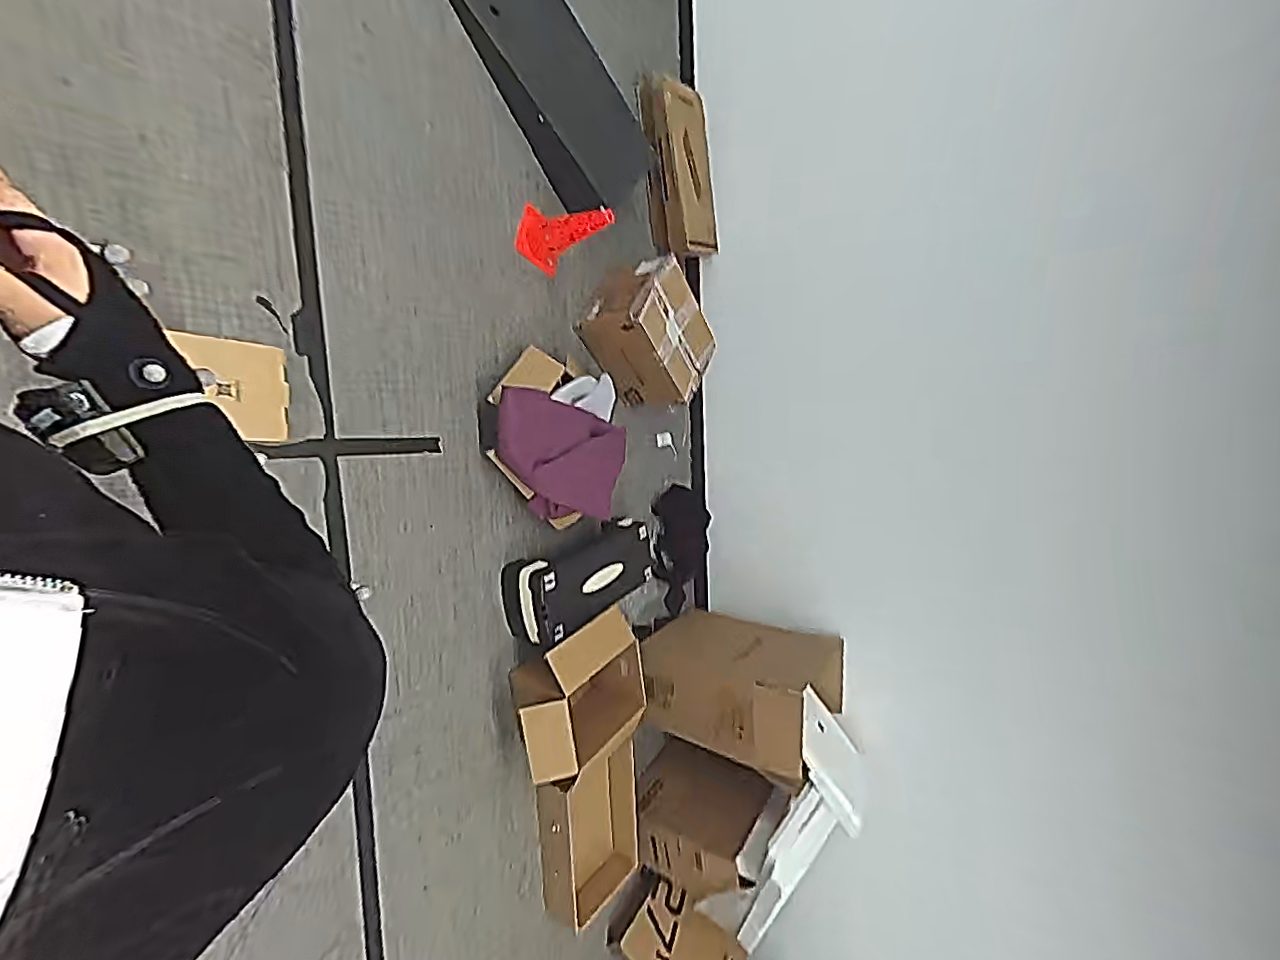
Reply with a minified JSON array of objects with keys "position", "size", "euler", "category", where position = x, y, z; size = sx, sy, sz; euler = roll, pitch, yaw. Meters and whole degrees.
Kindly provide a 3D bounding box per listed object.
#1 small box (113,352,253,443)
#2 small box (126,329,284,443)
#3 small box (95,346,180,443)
[{"position":[-0.863,-0.156,1.029],"size":[0.179,0.176,0.168],"euler":[-3,94,-54],"category":"small box"},{"position":[-0.739,-0.149,0.922],"size":[0.179,0.176,0.168],"euler":[-3,93,-53],"category":"small box"},{"position":[-1.000,-0.169,1.120],"size":[0.168,0.176,0.179],"euler":[-2,94,-54],"category":"small box"}]
